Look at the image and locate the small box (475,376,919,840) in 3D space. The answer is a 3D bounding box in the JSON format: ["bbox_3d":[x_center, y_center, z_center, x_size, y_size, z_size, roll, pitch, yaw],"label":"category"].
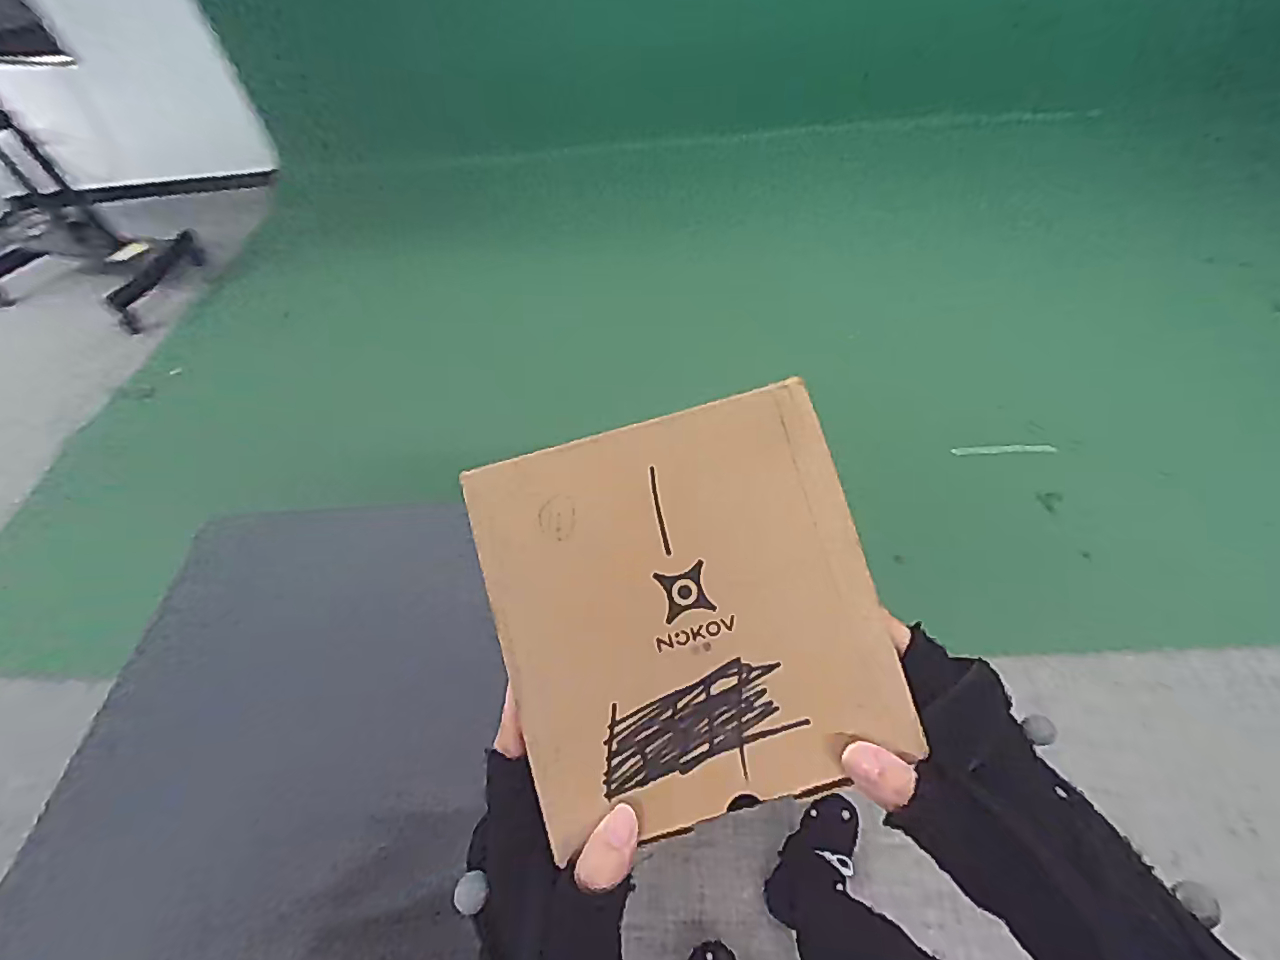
[{"bbox_3d":[0.024,0.063,0.322,0.168,0.176,0.179,-15,82,-1],"label":"small box"}]
